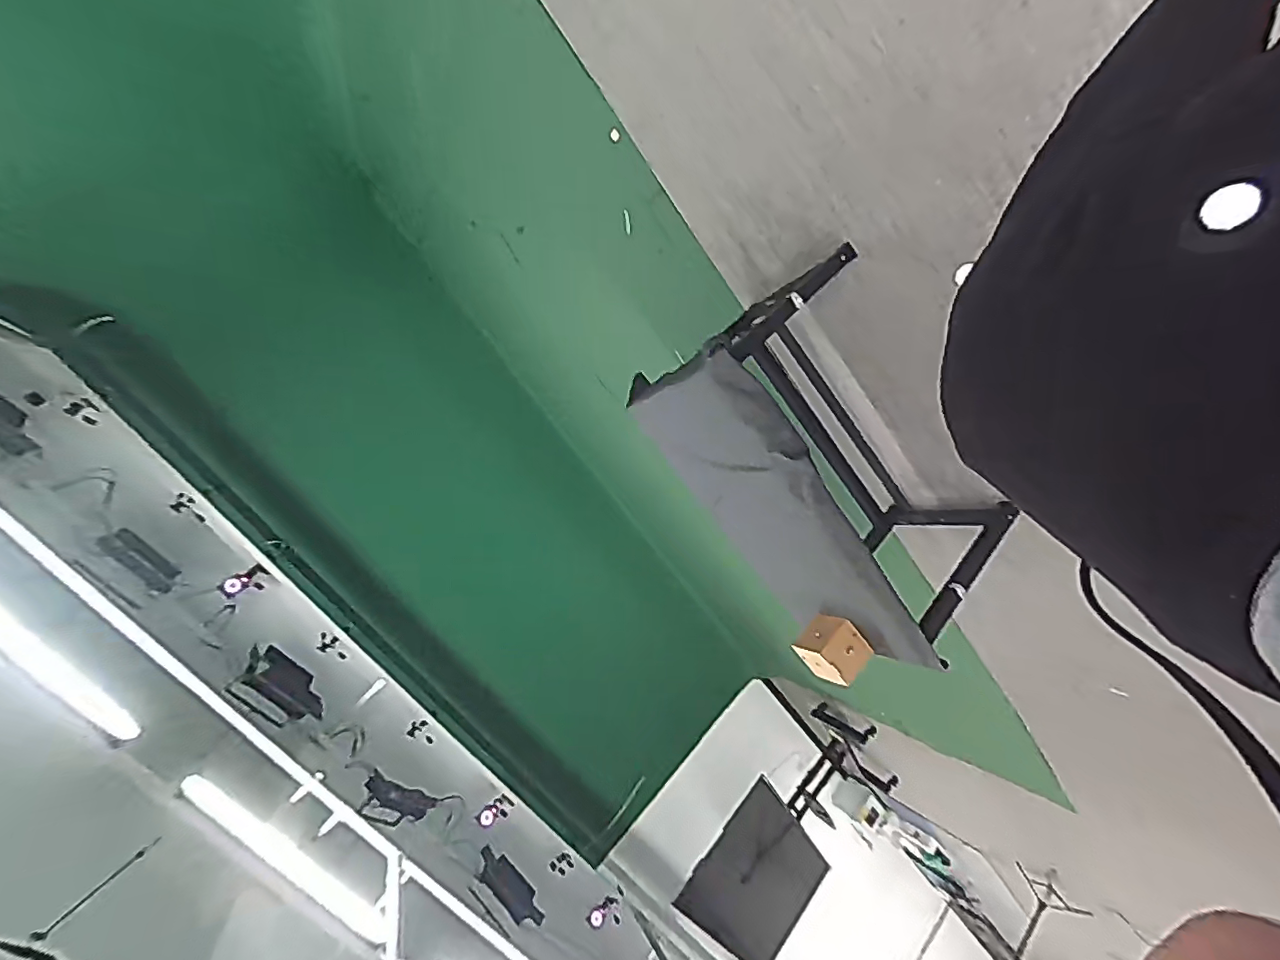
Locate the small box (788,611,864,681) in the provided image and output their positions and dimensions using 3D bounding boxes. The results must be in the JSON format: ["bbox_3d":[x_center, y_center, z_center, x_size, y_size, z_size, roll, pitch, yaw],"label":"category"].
[{"bbox_3d":[0.685,0.598,1.973,0.168,0.176,0.179,50,160,-8],"label":"small box"}]
